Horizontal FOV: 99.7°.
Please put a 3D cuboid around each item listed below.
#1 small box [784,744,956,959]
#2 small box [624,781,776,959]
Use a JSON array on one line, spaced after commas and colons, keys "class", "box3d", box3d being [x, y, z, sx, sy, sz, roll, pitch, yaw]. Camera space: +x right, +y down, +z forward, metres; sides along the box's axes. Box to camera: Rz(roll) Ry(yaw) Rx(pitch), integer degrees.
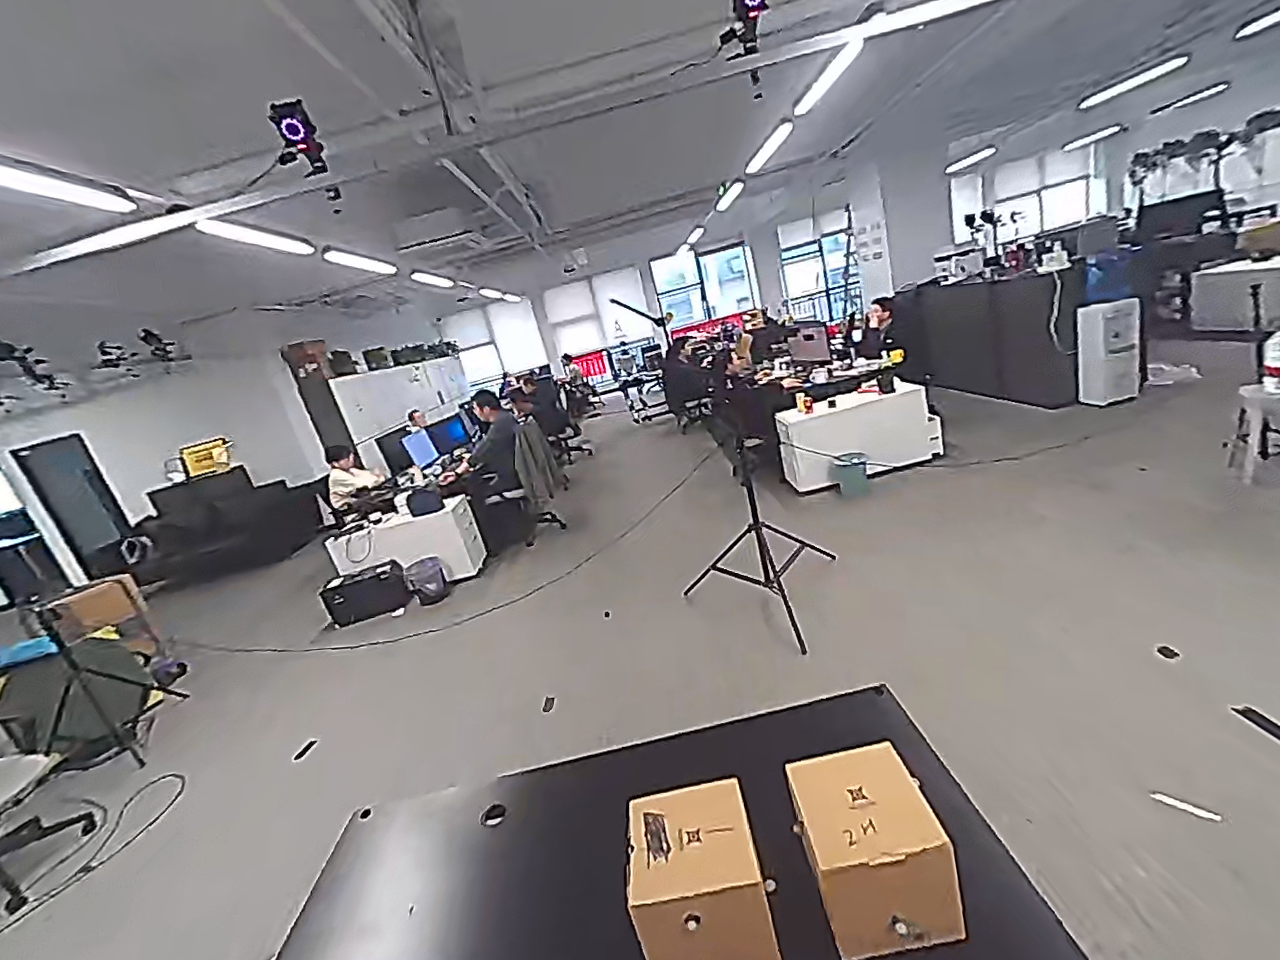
[{"class": "small box", "box3d": [0.320, 0.523, 0.773, 0.168, 0.176, 0.179, -15, 16, 4]}, {"class": "small box", "box3d": [0.083, 0.584, 0.788, 0.179, 0.176, 0.168, -13, 16, 3]}]
